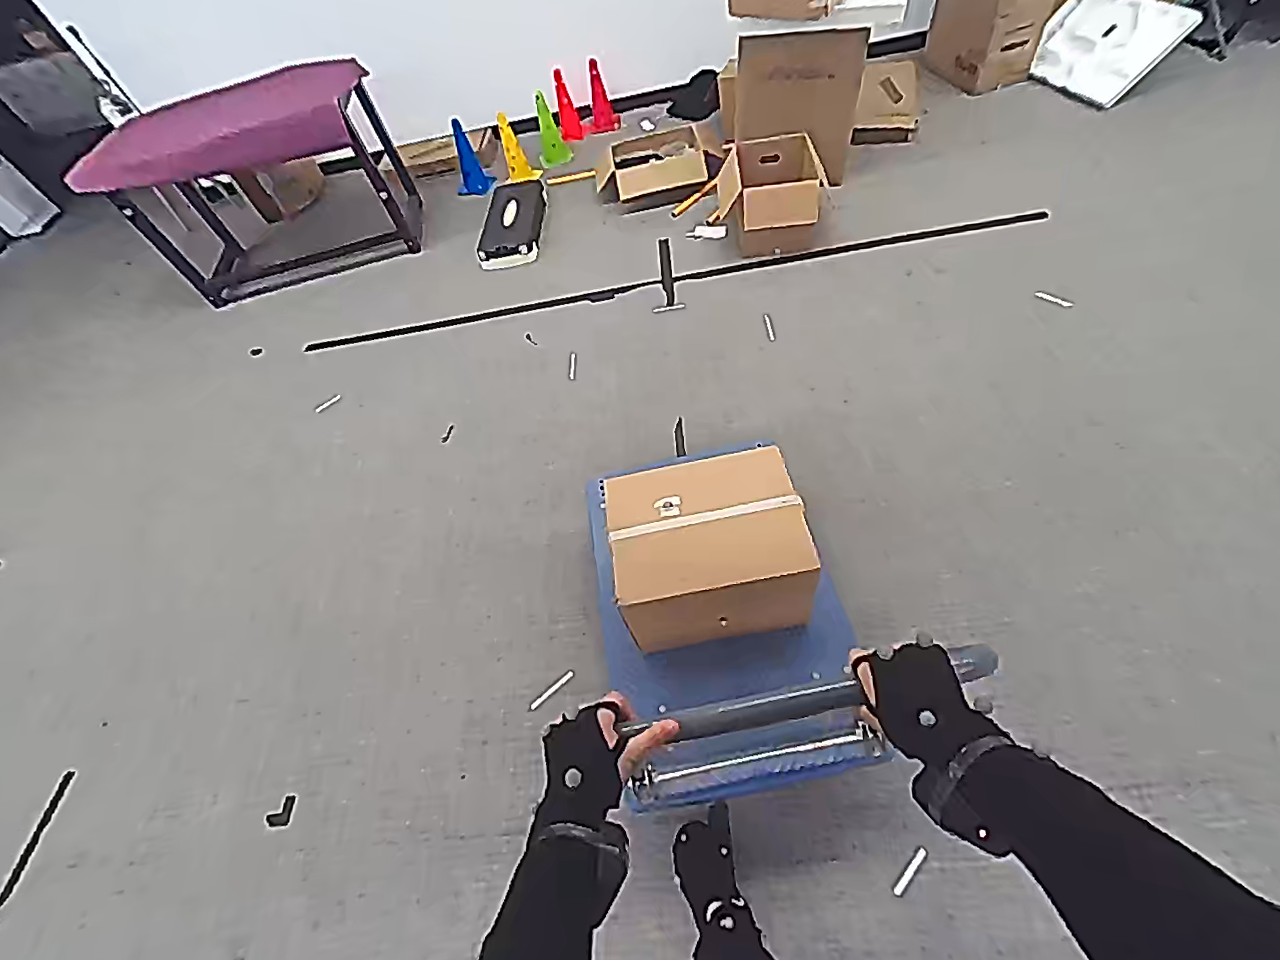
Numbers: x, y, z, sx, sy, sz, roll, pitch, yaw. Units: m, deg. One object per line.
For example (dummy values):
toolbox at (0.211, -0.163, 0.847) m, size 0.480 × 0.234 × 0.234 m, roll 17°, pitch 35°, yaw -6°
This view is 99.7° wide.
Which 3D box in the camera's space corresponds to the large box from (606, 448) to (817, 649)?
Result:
large box at (0.161, 0.172, 1.275) m, size 0.408 × 0.320 × 0.320 m, roll -12°, pitch 53°, yaw 4°
